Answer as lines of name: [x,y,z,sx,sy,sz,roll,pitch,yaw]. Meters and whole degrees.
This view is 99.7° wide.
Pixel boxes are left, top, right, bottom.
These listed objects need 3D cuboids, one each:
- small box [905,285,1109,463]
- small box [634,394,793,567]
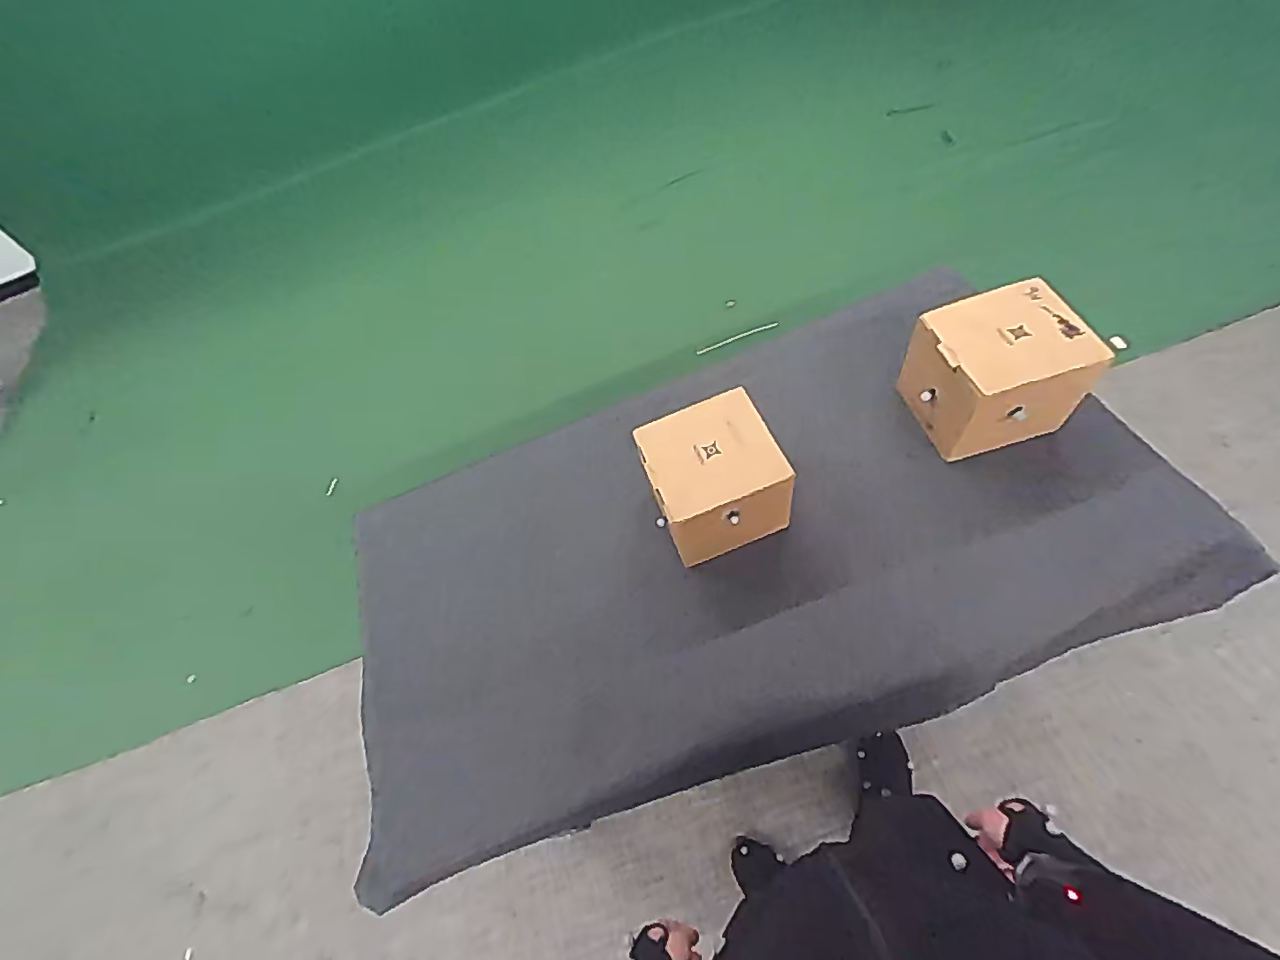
small box: [0.518,-0.148,0.802,0.179,0.176,0.168,-17,59,4]
small box: [0.110,0.008,0.810,0.179,0.176,0.168,-22,59,-2]
